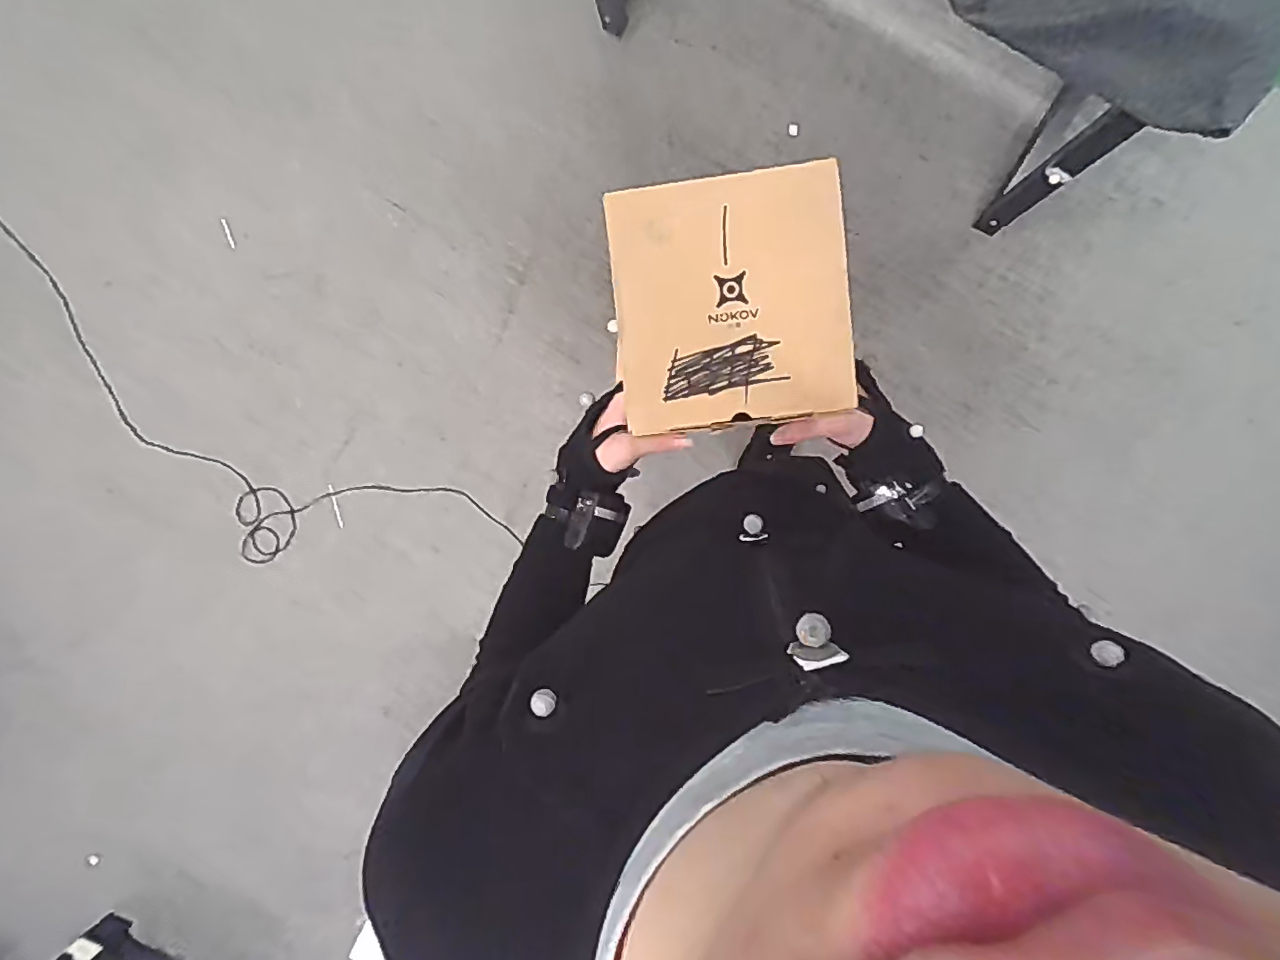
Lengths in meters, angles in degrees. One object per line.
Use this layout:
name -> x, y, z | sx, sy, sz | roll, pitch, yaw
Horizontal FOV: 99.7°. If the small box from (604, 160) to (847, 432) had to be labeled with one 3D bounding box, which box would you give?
small box -> 0.068, -0.136, 0.465 | 0.168, 0.176, 0.179 | -5, 94, 5
